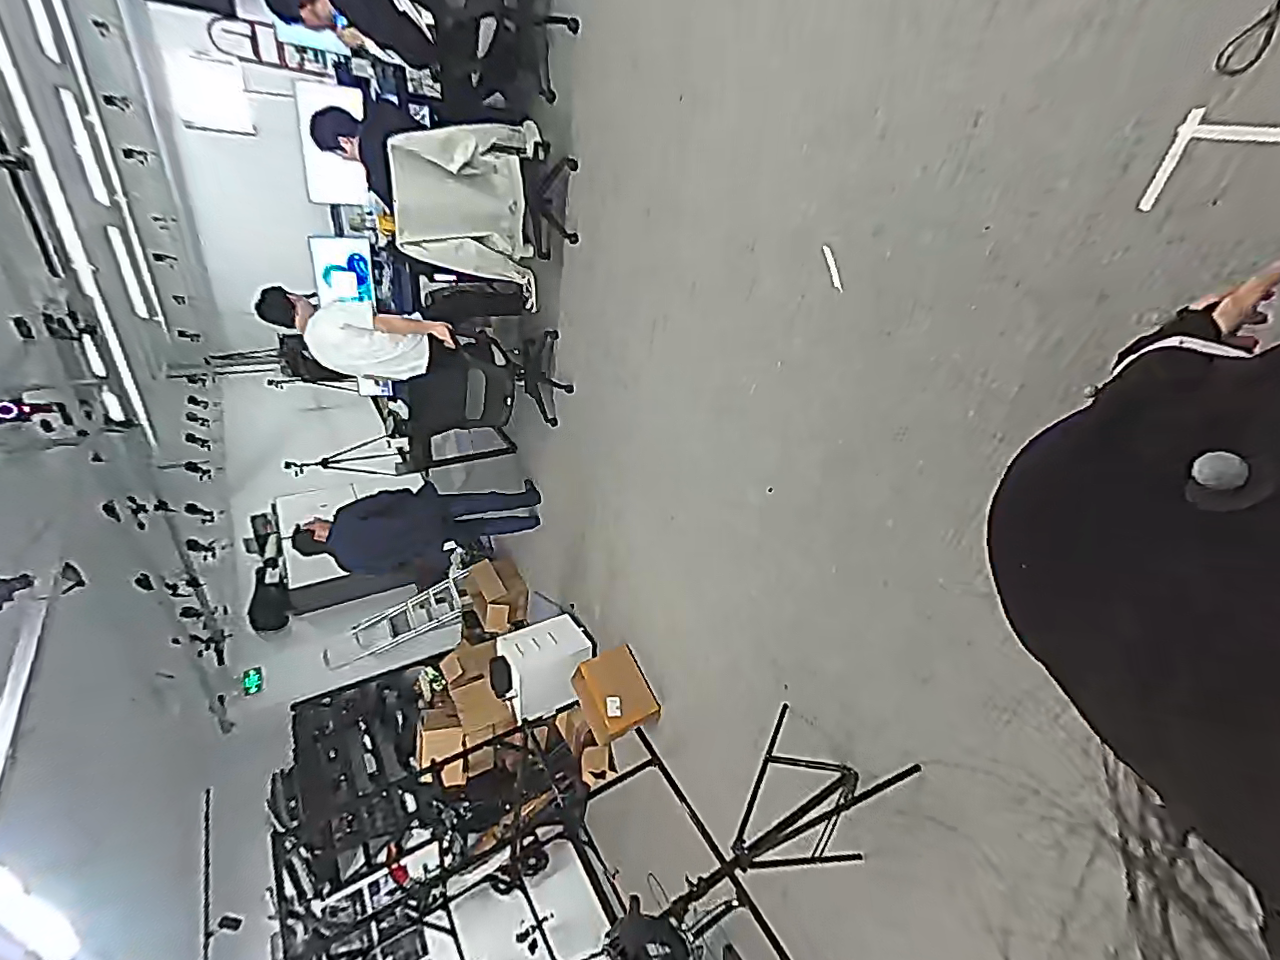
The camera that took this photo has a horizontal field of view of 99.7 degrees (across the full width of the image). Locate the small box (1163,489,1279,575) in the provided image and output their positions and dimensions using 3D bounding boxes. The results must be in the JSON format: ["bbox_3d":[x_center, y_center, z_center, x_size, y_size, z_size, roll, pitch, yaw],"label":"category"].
[{"bbox_3d":[0.756,0.134,0.727,0.168,0.176,0.179,50,139,37],"label":"small box"}]
